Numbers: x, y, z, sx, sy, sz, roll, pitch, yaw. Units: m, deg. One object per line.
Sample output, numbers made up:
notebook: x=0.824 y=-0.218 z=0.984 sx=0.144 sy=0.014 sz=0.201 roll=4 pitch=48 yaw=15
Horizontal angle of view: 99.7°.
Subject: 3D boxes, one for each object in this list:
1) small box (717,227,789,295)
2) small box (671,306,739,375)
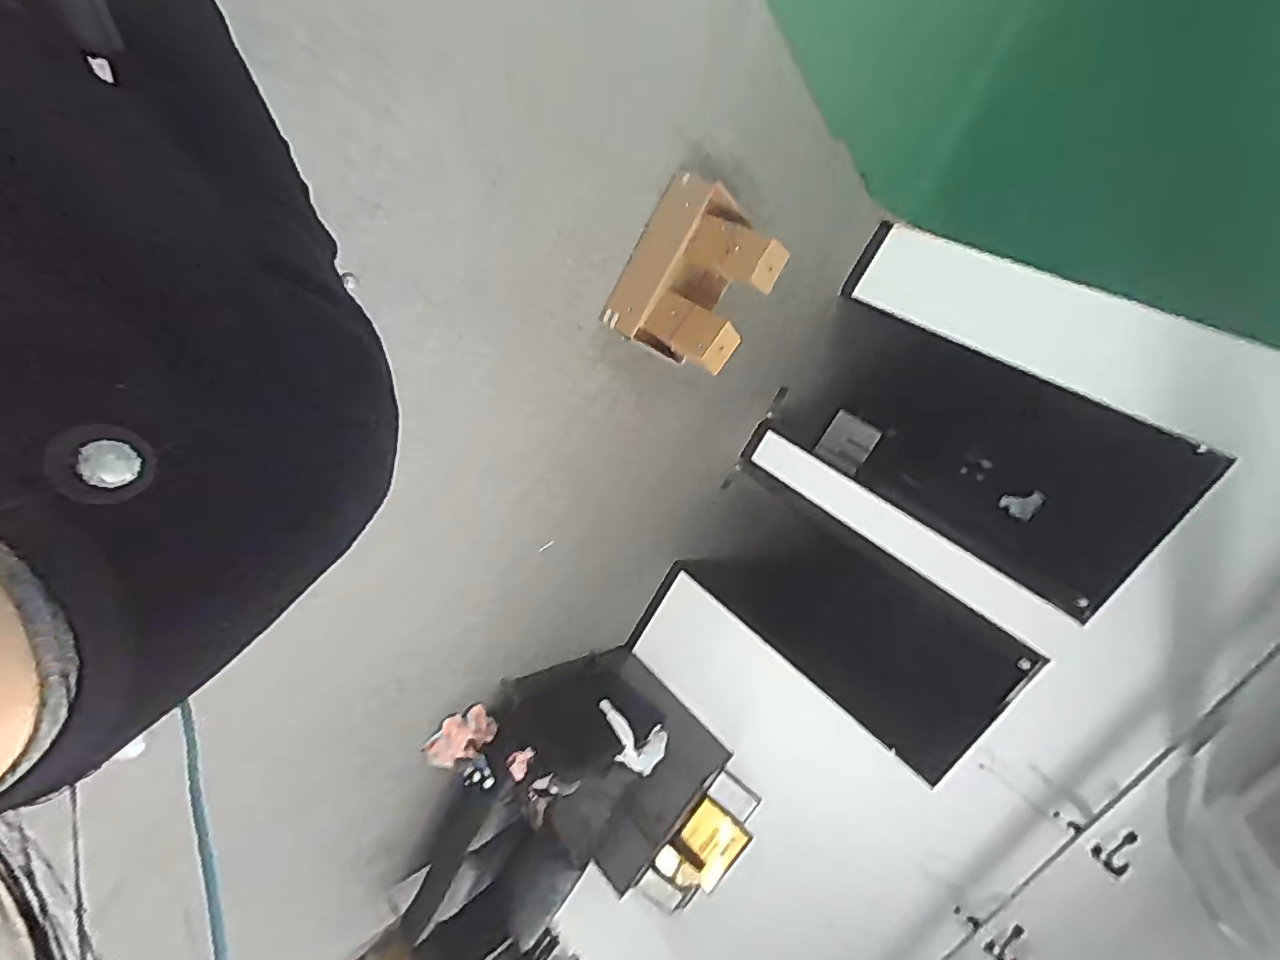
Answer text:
small box: x=0.425 y=-0.829 z=2.042 sx=0.179 sy=0.176 sz=0.168 roll=4 pitch=119 yaw=-54
small box: x=0.254 y=-0.550 z=2.125 sx=0.179 sy=0.176 sz=0.168 roll=-54 pitch=149 yaw=5
